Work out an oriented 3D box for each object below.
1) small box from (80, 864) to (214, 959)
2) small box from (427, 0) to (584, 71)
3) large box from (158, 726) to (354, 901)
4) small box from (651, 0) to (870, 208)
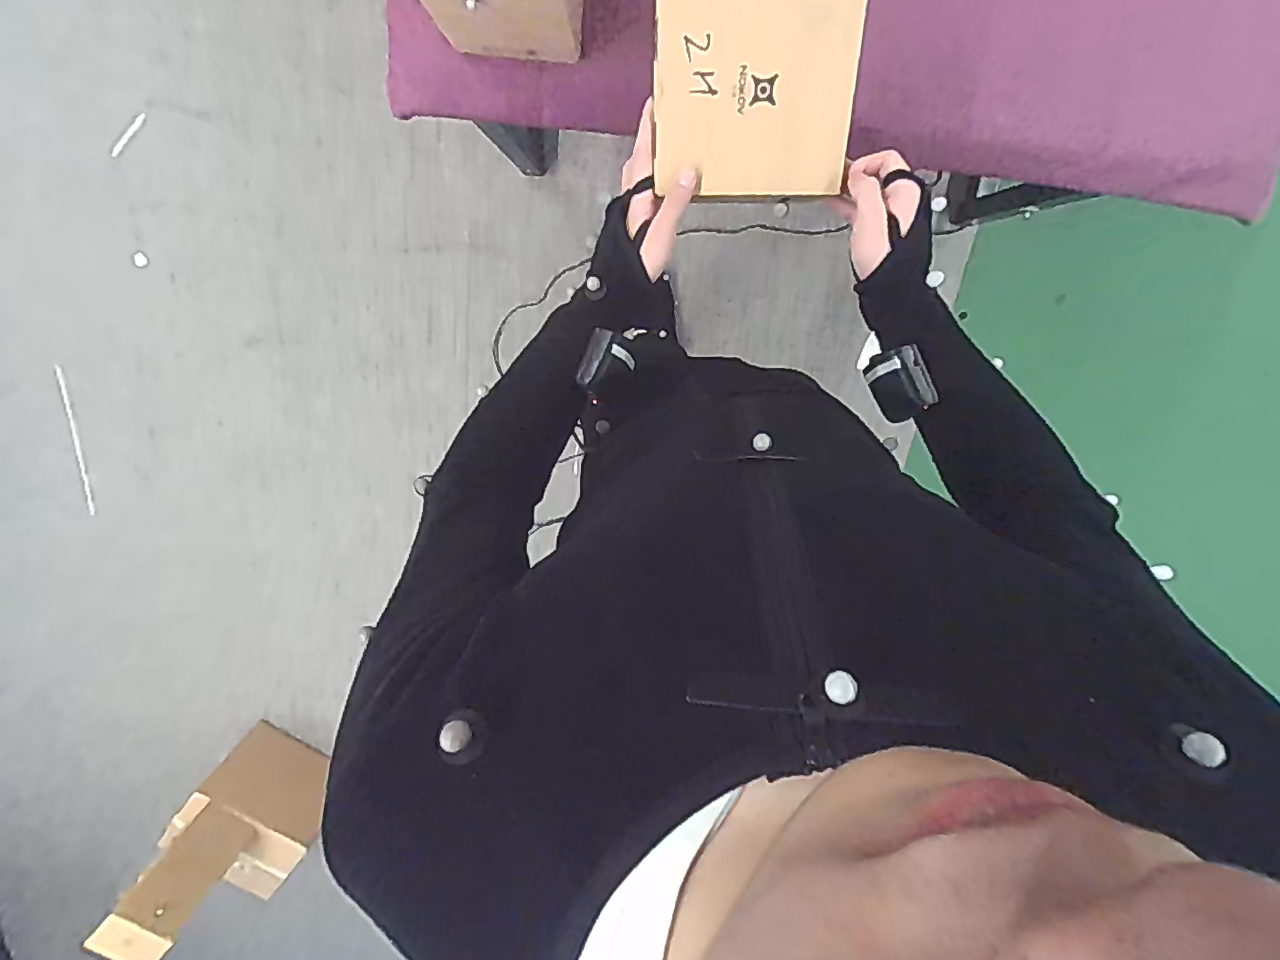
[{"bbox_3d":[-1.342,1.203,1.484,0.179,0.176,0.168,41,103,-13],"label":"small box"},{"bbox_3d":[-0.152,-0.600,0.600,0.168,0.176,0.179,5,107,-1],"label":"small box"},{"bbox_3d":[-1.324,1.158,1.900,0.408,0.320,0.320,37,106,-12],"label":"large box"},{"bbox_3d":[0.102,-0.368,0.540,0.179,0.176,0.168,2,115,3],"label":"small box"}]
